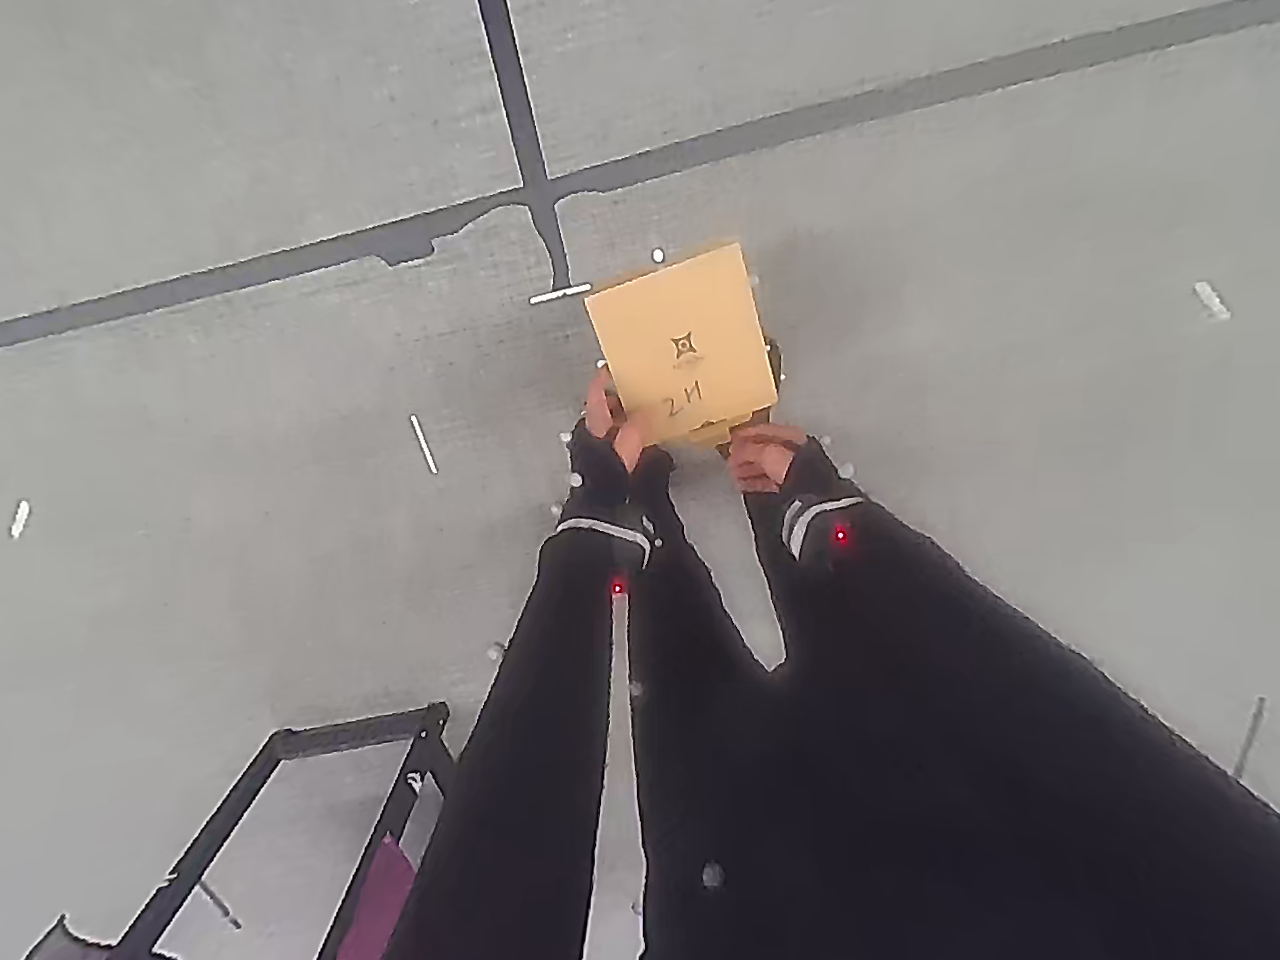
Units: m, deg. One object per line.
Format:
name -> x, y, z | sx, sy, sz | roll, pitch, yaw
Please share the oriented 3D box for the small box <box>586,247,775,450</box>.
small box -> 0.045, -0.163, 0.645 | 0.168, 0.176, 0.179 | -18, 114, 8
